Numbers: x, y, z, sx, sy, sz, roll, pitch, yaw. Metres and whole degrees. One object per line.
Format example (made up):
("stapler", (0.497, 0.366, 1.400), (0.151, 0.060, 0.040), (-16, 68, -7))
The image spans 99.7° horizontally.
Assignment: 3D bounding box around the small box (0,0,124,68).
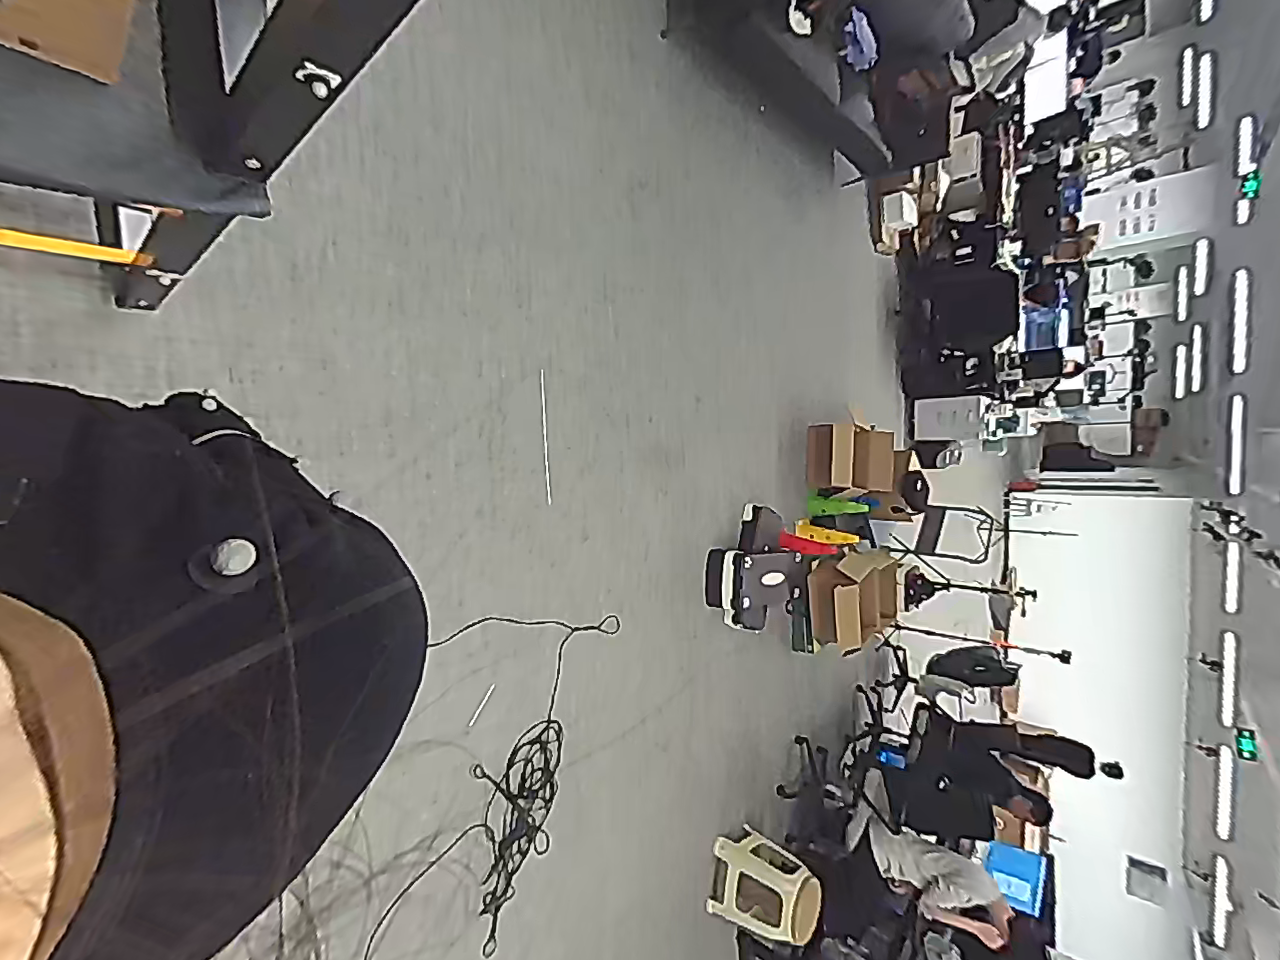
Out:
("small box", (-0.548, -0.503, 0.451), (0.168, 0.176, 0.179), (-2, 92, -50))
